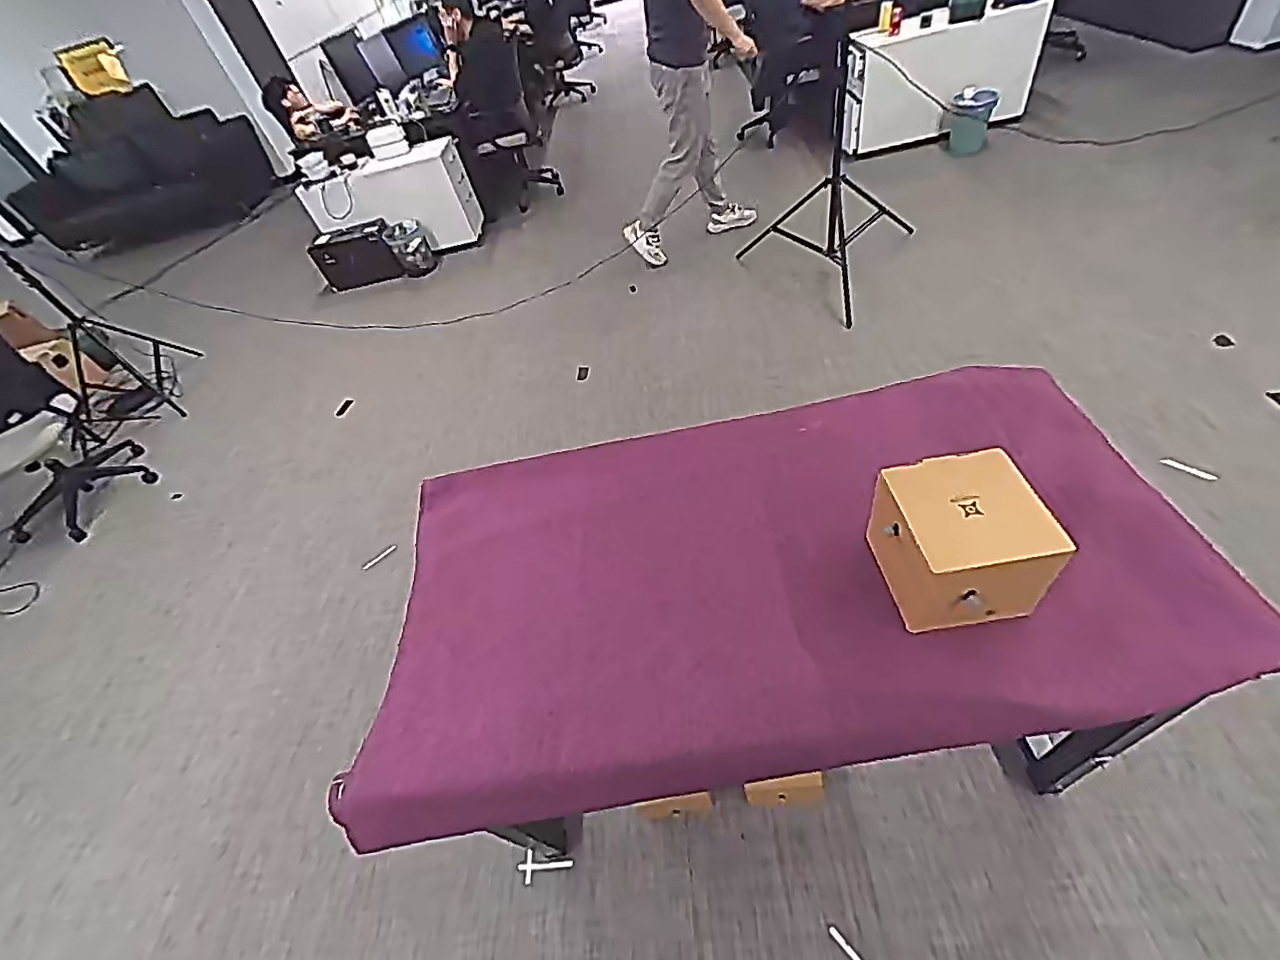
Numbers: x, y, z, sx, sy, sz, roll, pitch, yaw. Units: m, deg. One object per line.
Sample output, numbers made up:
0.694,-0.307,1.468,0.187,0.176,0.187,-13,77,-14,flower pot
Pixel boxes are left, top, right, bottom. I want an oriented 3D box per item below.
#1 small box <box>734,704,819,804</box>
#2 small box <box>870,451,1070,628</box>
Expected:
0.321,0.654,1.281,0.168,0.176,0.179,-8,47,7,small box
0.439,0.091,0.756,0.168,0.176,0.179,-11,47,6,small box
